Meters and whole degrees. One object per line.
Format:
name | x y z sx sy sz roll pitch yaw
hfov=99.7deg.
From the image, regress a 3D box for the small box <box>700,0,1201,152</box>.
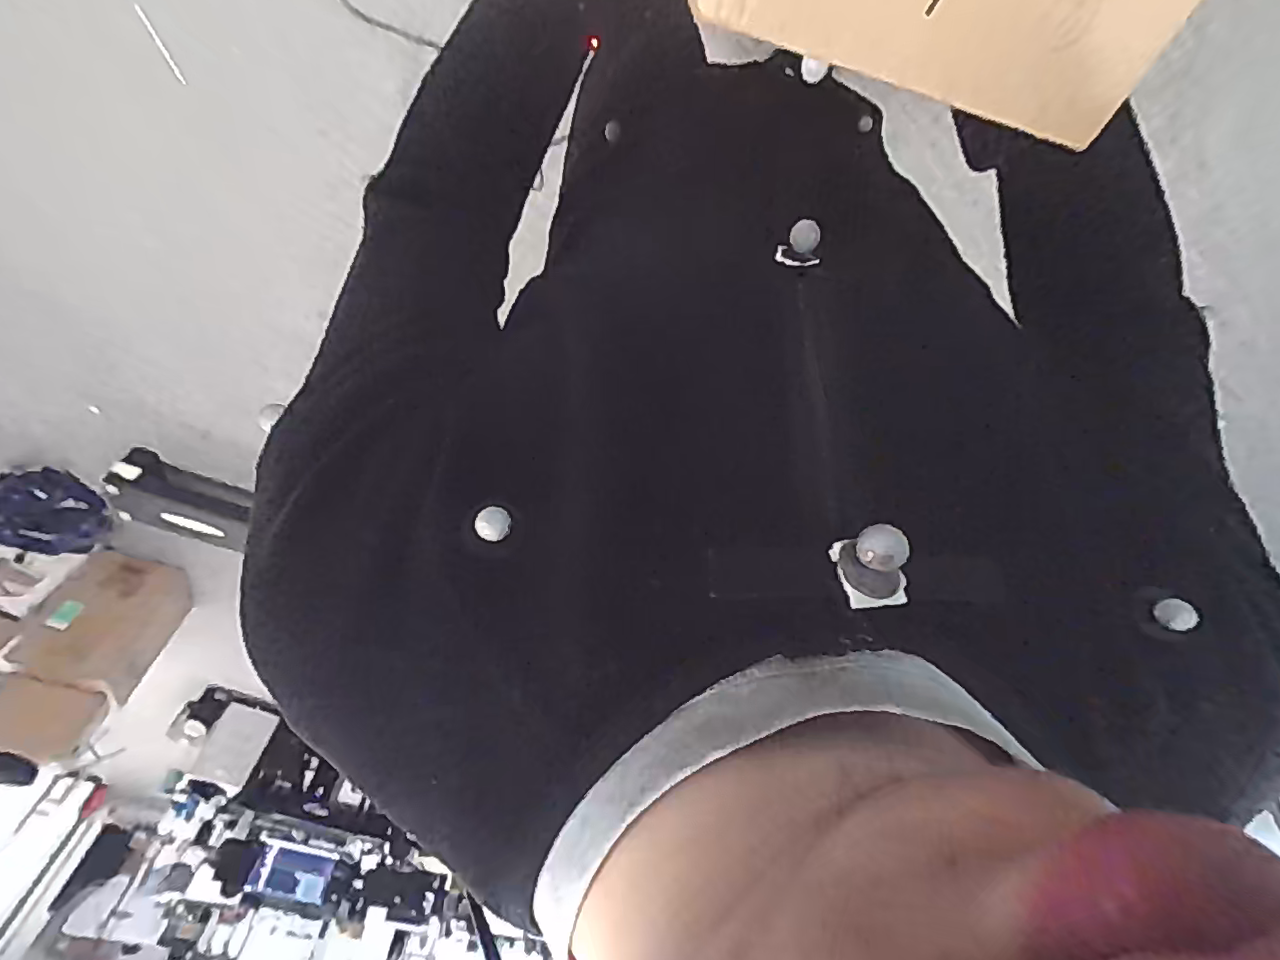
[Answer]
small box | 0.121 -0.260 0.196 0.168 0.176 0.179 13 136 -8
